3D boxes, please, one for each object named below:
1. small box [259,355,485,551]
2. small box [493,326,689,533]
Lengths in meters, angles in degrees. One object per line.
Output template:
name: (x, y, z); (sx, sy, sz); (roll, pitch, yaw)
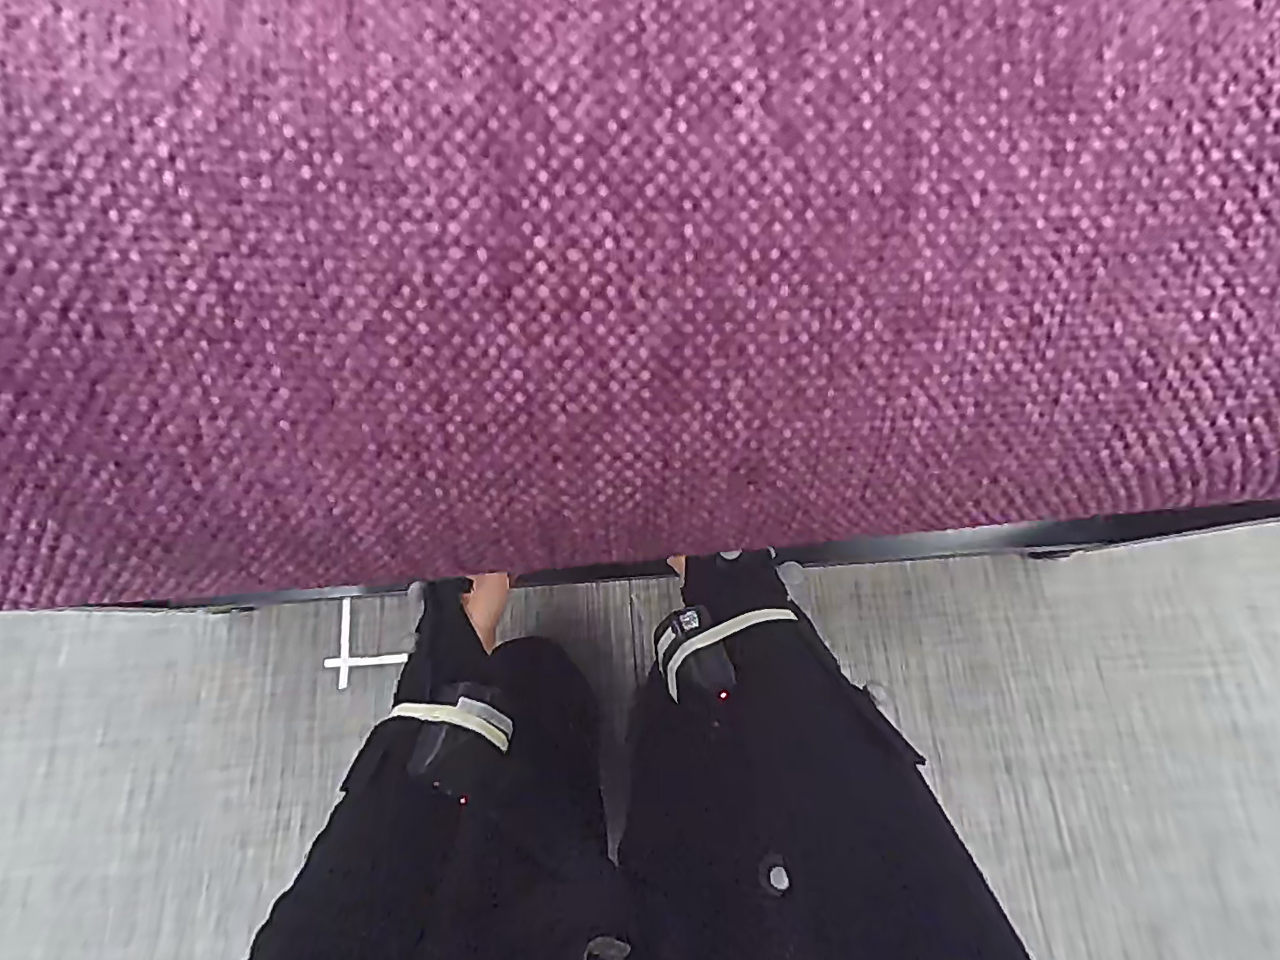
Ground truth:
small box: (-0.277, -0.019, 0.595); (0.179, 0.176, 0.168); (-8, 77, -2)
small box: (-0.046, -0.038, 0.558); (0.168, 0.176, 0.179); (-6, 82, -3)
